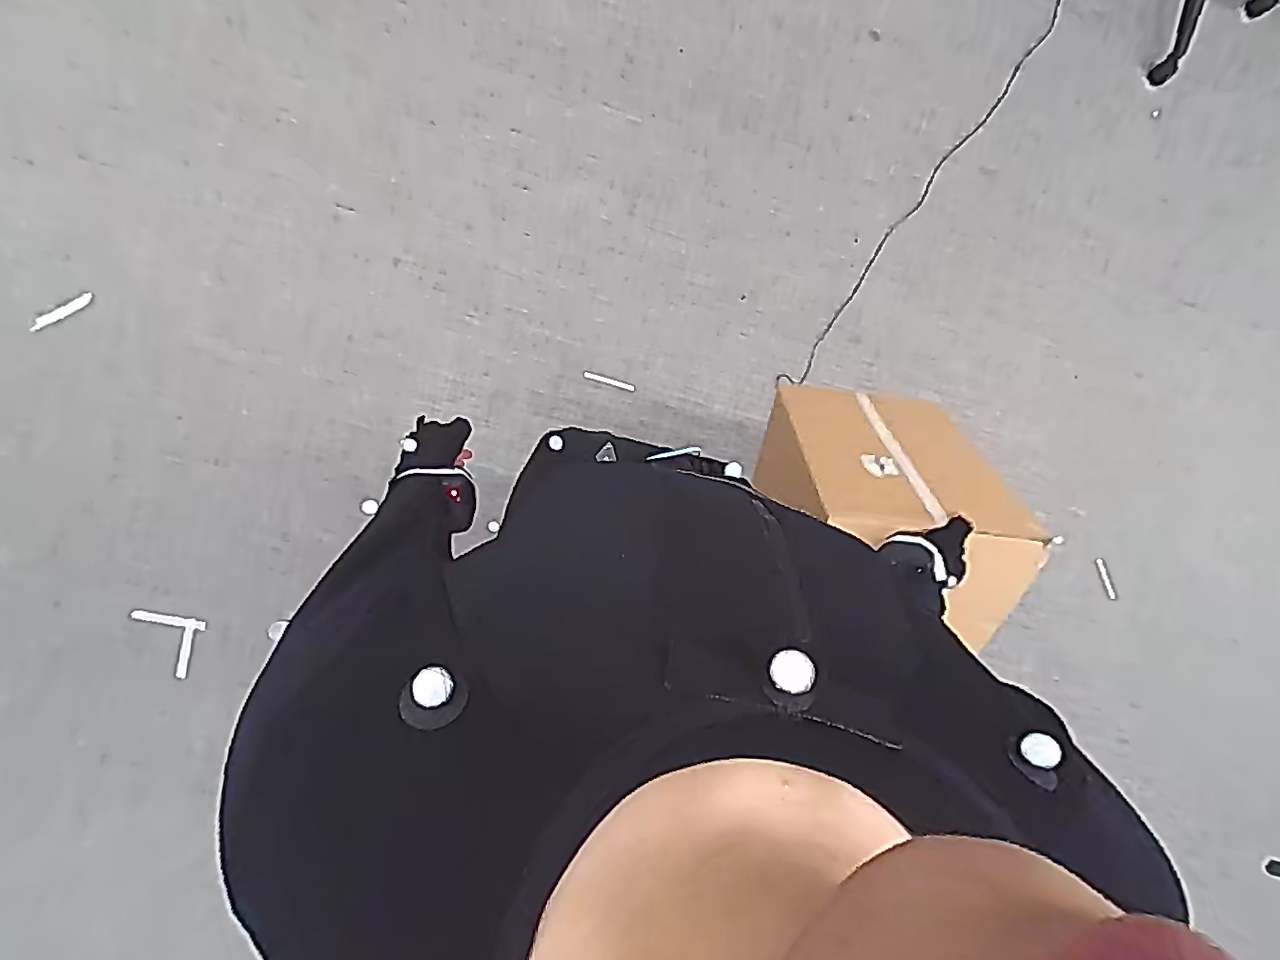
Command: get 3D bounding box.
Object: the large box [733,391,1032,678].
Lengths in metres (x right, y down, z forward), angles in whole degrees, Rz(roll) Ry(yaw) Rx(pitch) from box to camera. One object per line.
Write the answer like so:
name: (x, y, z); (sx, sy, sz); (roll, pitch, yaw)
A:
large box: (0.371, 0.083, 0.977); (0.320, 0.408, 0.320); (7, 126, -2)
